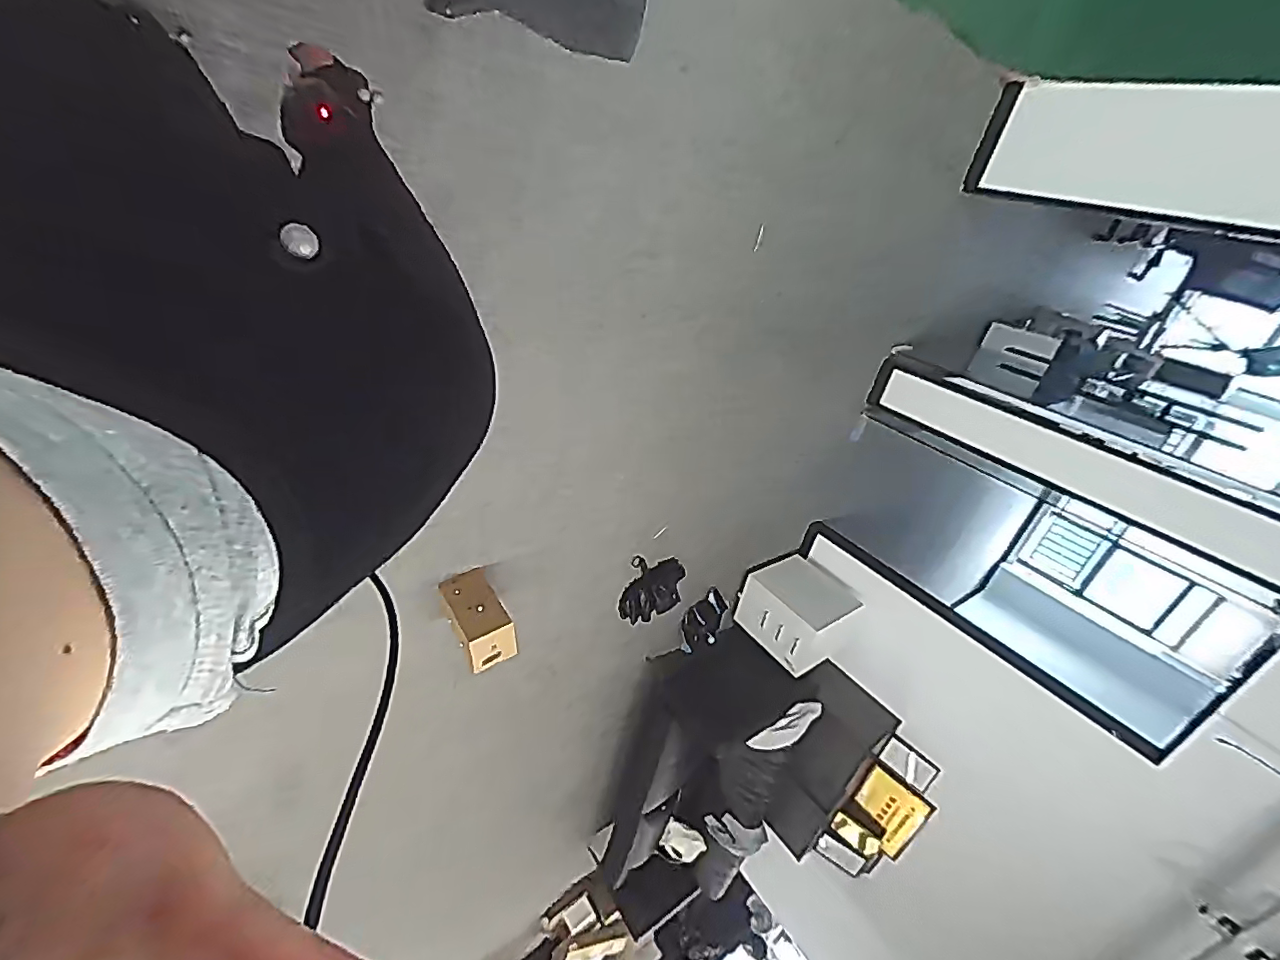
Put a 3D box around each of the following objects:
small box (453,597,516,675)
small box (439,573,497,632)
[{"bbox_3d":[-0.563,0.559,1.958,0.168,0.176,0.179,-20,131,-30],"label":"small box"},{"bbox_3d":[-0.654,0.478,2.069,0.168,0.176,0.179,-21,134,-29],"label":"small box"}]
